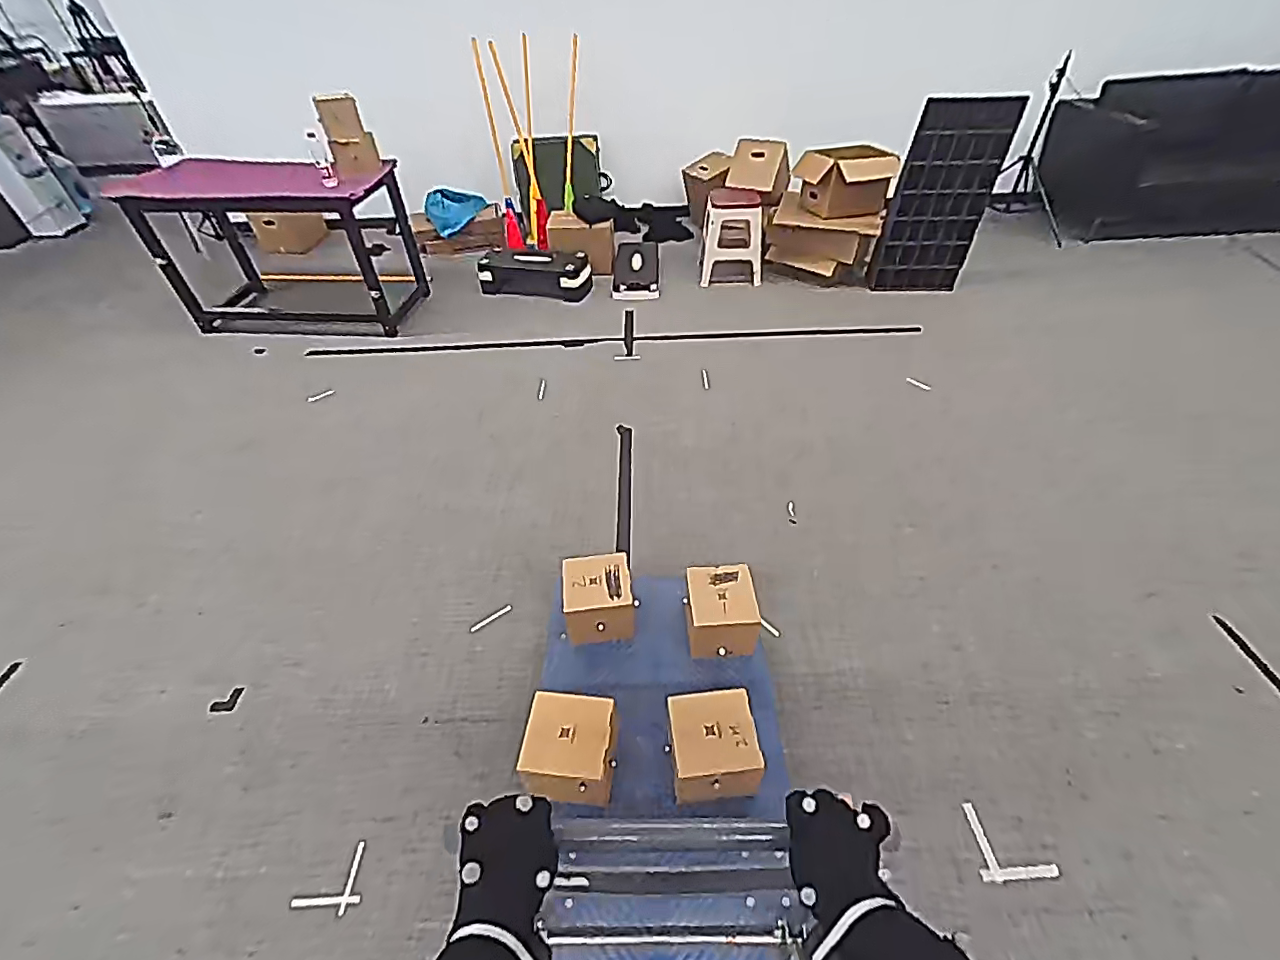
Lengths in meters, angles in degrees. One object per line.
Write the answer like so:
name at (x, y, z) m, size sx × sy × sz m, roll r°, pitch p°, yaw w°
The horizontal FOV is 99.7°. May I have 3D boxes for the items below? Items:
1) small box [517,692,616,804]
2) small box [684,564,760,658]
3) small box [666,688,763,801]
small box at (-0.150, 0.583, 1.175) m, size 0.179 × 0.176 × 0.168 m, roll 4°, pitch 43°, yaw 4°
small box at (0.206, 0.341, 1.411) m, size 0.168 × 0.176 × 0.179 m, roll -4°, pitch 45°, yaw -1°
small box at (0.154, 0.575, 1.170) m, size 0.179 × 0.176 × 0.168 m, roll -5°, pitch 44°, yaw -3°
